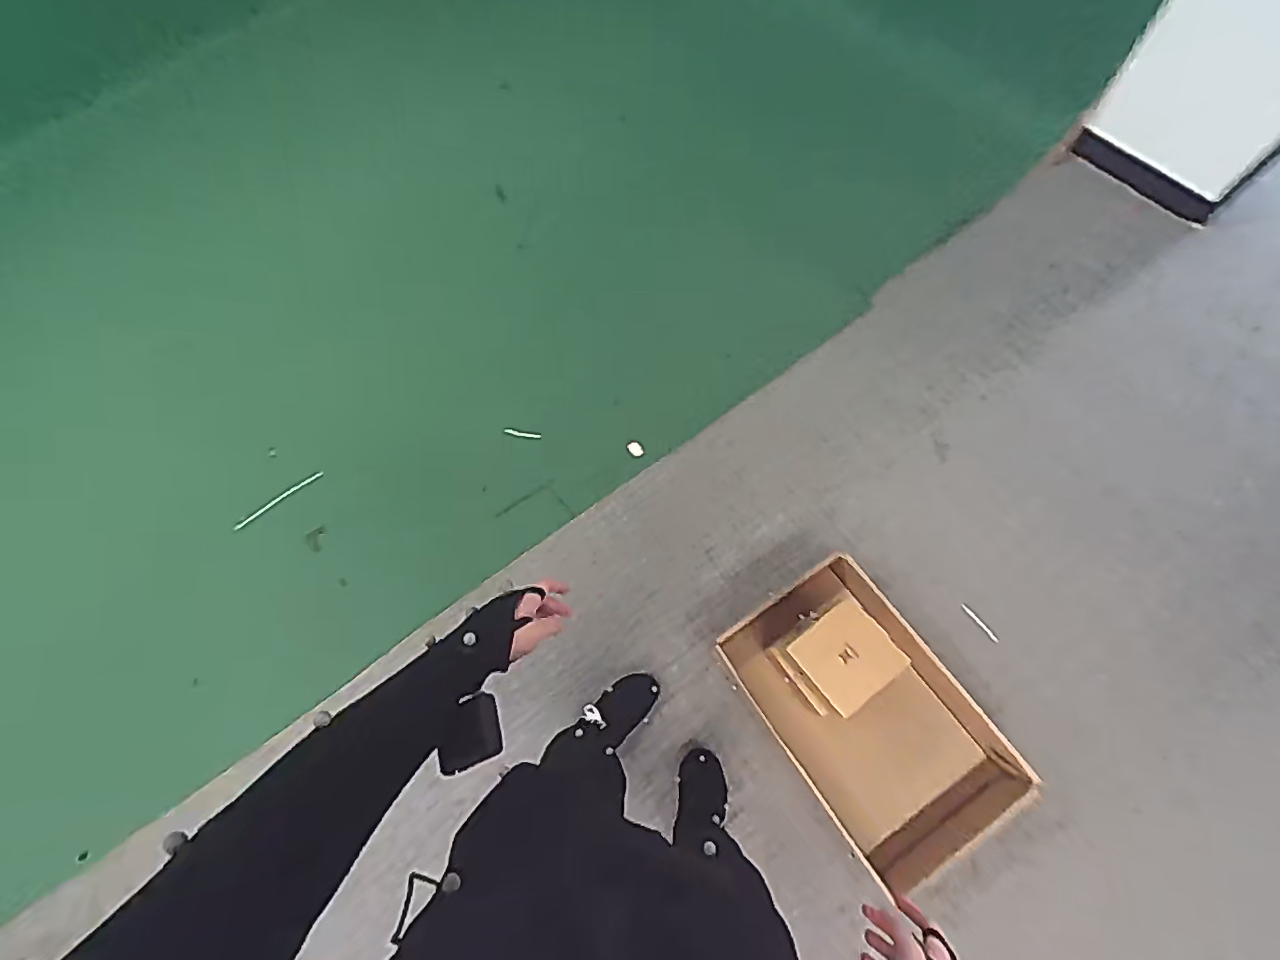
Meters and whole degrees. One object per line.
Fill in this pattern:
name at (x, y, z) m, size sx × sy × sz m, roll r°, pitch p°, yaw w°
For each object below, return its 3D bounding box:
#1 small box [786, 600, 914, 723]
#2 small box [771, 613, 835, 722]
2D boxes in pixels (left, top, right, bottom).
small box at (0.422, 0.379, 1.125) m, size 0.179 × 0.176 × 0.168 m, roll -37°, pitch 70°, yaw -7°
small box at (0.429, 0.440, 1.276) m, size 0.168 × 0.176 × 0.179 m, roll -35°, pitch 72°, yaw -5°
